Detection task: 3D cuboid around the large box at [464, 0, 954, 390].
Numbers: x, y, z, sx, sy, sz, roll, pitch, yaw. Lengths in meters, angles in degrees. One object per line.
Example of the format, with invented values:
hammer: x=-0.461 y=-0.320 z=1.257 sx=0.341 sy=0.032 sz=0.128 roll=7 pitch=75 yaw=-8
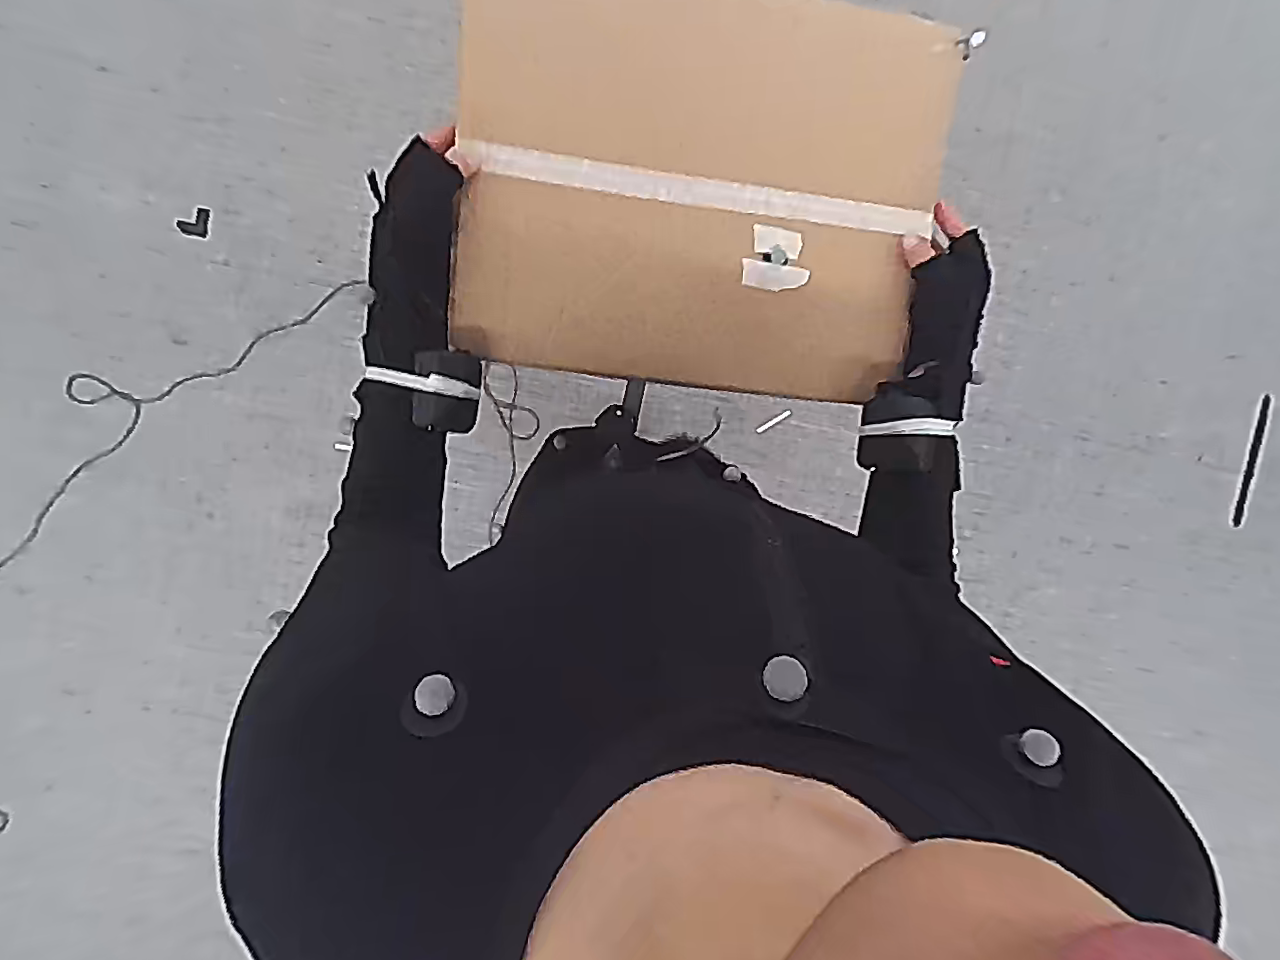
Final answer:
large box: x=0.040 y=-0.280 z=0.607 sx=0.408 sy=0.320 sz=0.320 roll=5 pitch=102 yaw=-8
